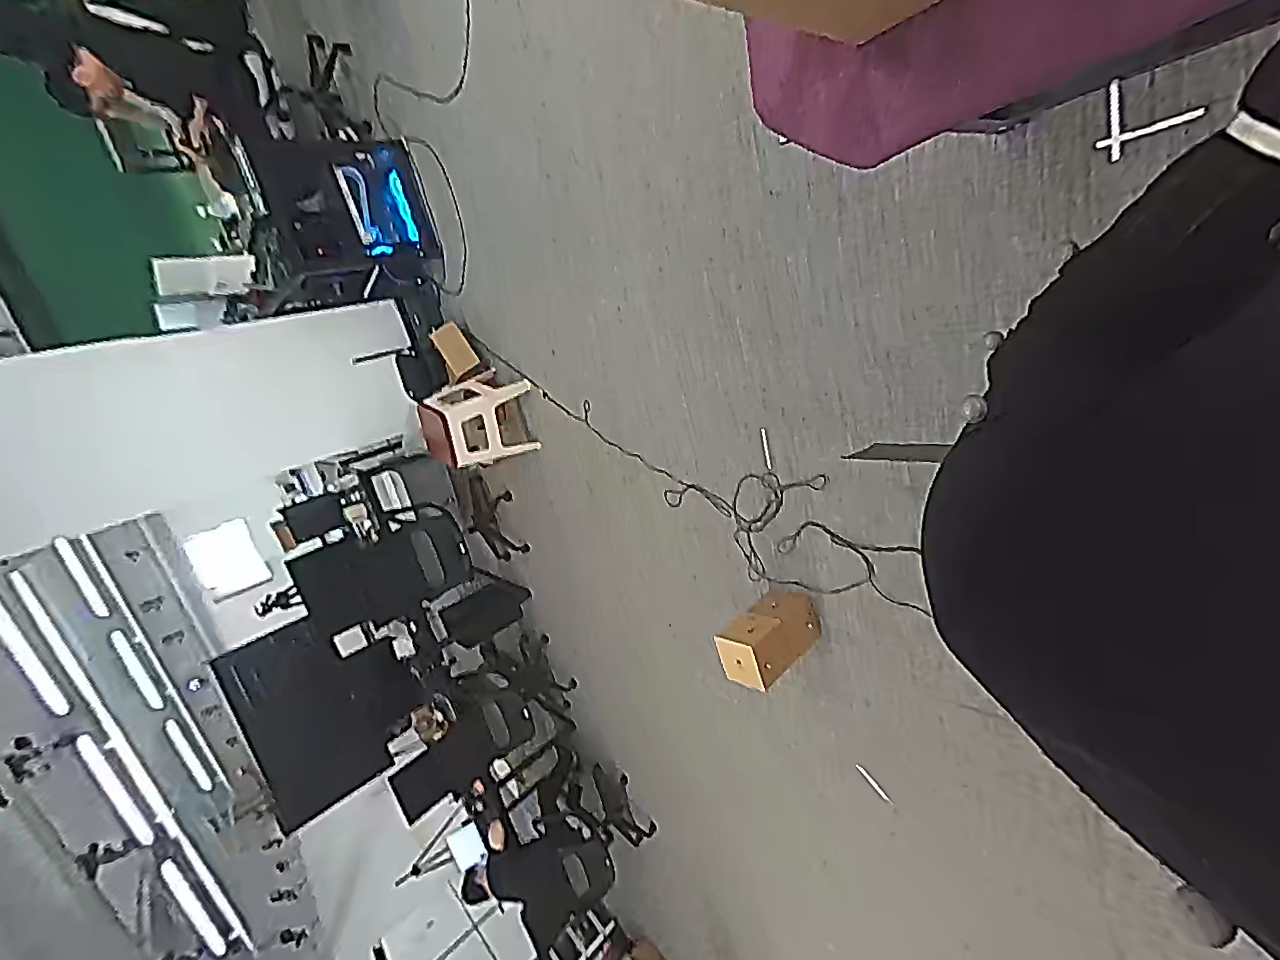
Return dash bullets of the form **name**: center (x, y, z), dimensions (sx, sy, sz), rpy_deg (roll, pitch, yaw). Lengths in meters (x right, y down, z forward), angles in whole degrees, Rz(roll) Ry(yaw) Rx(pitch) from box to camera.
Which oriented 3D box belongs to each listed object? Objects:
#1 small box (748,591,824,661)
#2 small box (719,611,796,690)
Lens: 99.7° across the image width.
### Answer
- **small box**: center (0.519, 0.509, 1.914), dimensions (0.179, 0.176, 0.168), rpy_deg (-5, 109, 52)
- **small box**: center (0.399, 0.565, 1.820), dimensions (0.168, 0.176, 0.179), rpy_deg (-2, 112, 52)
